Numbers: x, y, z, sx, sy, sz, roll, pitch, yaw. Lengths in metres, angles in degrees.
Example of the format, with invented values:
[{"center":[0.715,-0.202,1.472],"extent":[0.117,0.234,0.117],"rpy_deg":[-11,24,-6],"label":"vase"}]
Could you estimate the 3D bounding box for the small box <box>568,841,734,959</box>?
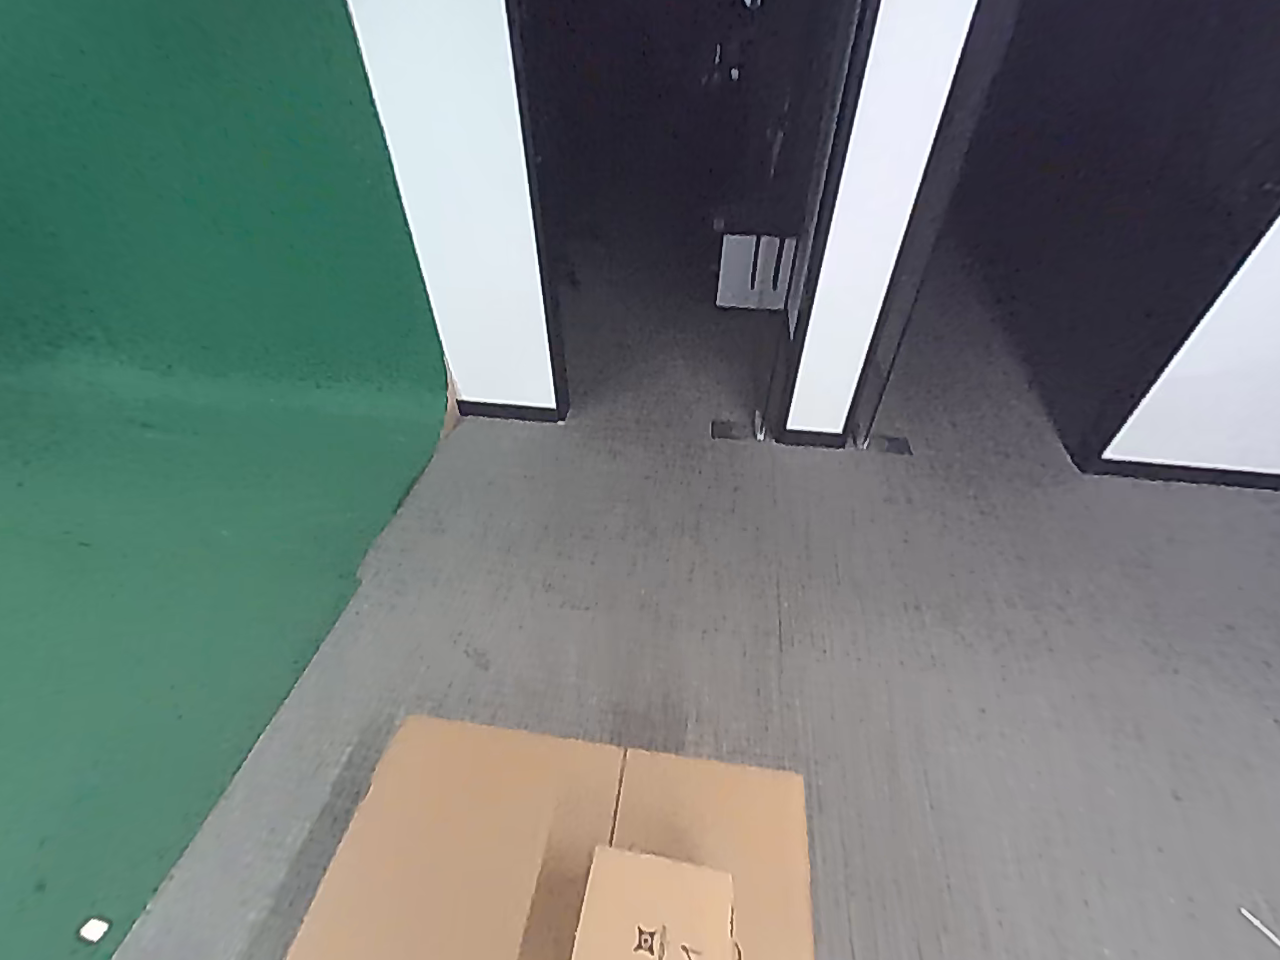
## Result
[{"center":[0.015,0.573,0.655],"extent":[0.179,0.176,0.168],"rpy_deg":[6,42,10],"label":"small box"}]
